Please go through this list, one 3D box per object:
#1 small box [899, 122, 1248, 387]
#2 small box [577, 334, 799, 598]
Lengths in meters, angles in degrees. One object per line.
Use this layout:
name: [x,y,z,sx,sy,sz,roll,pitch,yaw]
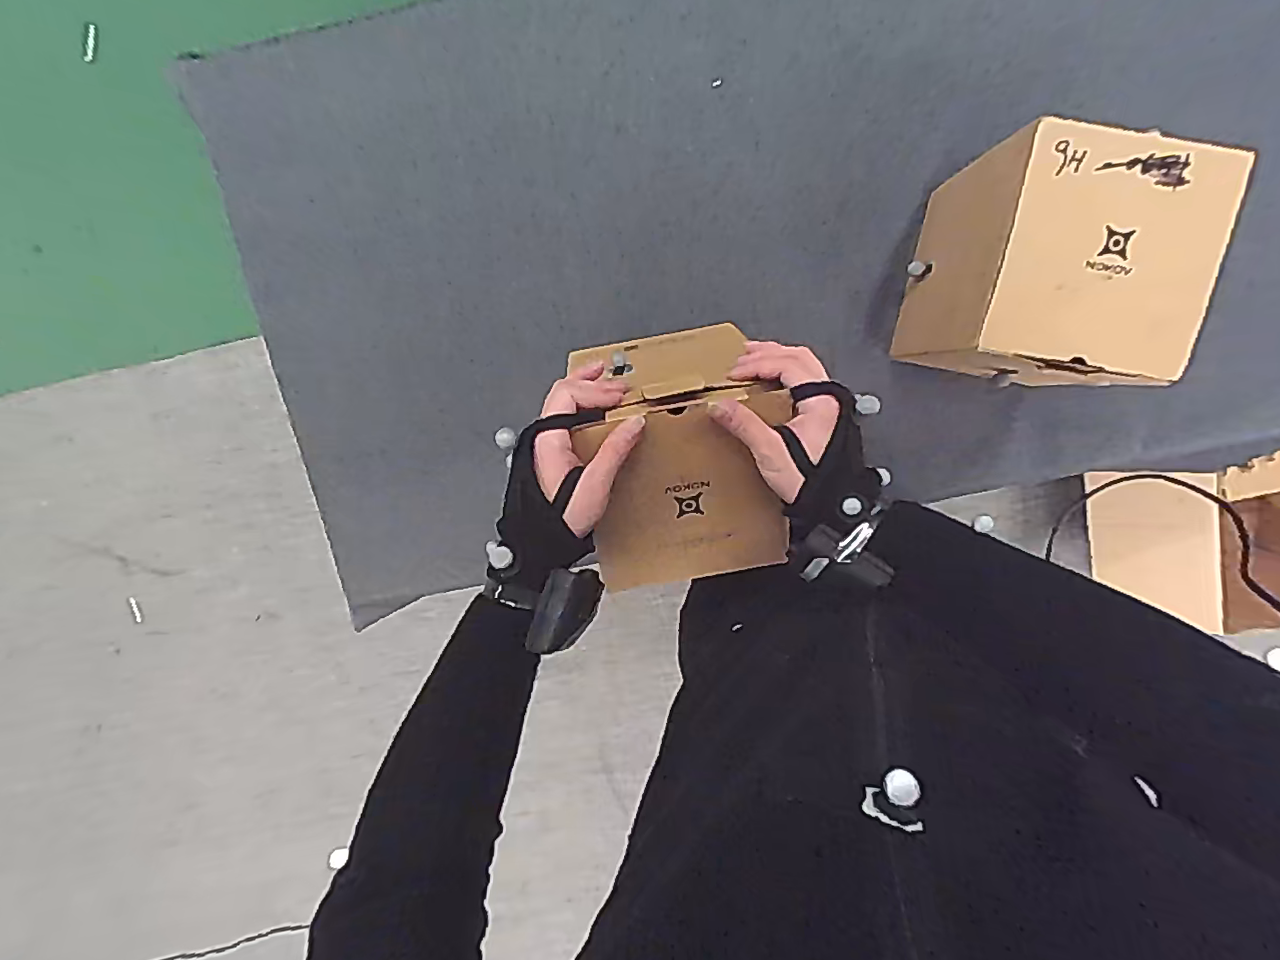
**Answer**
small box: [0.368,-0.189,0.503,0.168,0.176,0.179,11,101,0]
small box: [0.037,-0.024,0.496,0.168,0.176,0.179,-10,121,0]
